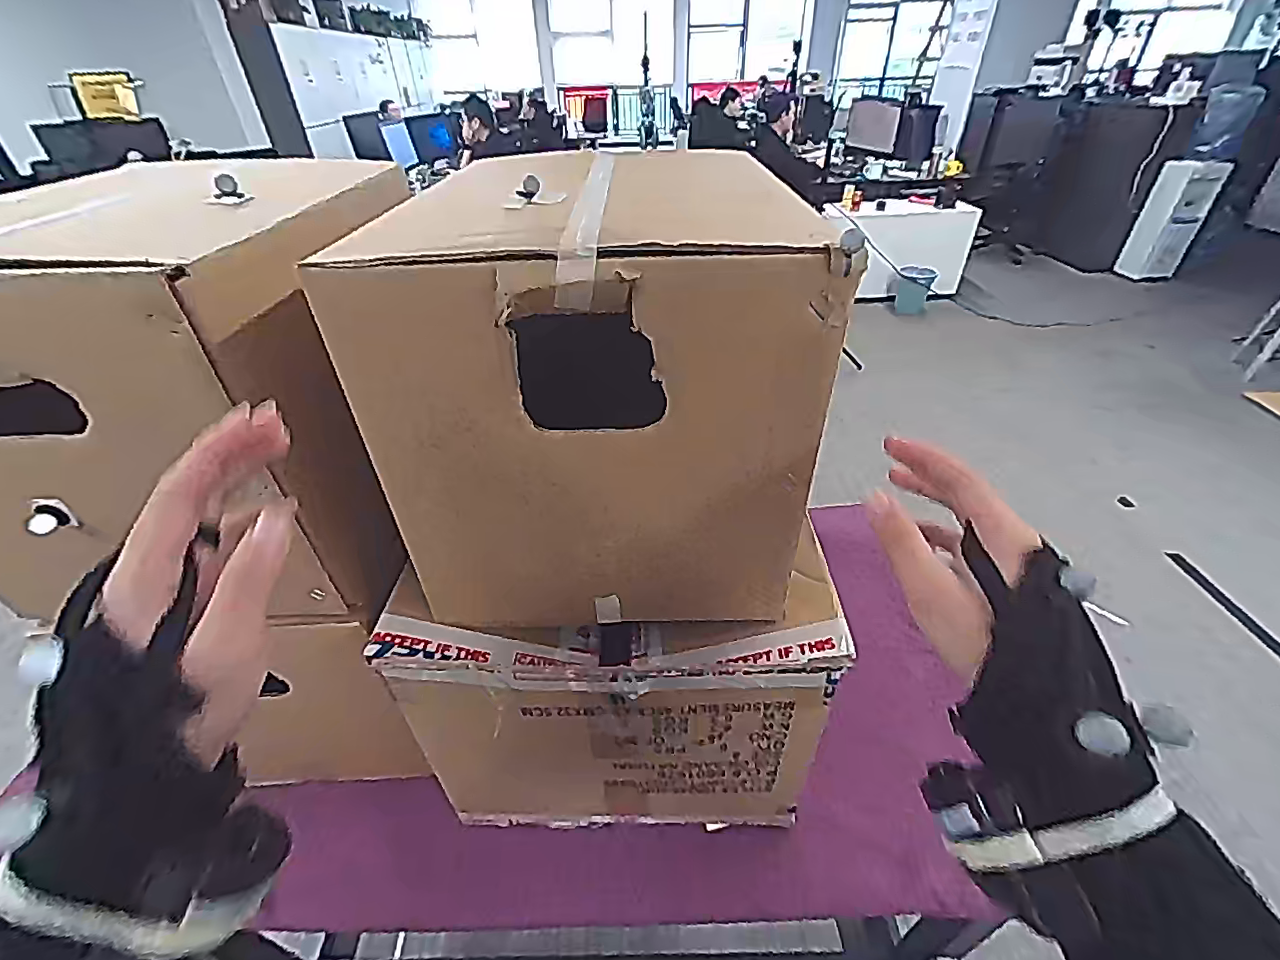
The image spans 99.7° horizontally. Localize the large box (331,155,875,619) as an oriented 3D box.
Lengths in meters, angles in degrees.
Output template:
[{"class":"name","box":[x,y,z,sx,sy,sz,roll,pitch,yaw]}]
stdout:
[{"class":"large box","box":[-0.023,-0.119,0.544,0.320,0.320,0.408,-2,38,1]}]
